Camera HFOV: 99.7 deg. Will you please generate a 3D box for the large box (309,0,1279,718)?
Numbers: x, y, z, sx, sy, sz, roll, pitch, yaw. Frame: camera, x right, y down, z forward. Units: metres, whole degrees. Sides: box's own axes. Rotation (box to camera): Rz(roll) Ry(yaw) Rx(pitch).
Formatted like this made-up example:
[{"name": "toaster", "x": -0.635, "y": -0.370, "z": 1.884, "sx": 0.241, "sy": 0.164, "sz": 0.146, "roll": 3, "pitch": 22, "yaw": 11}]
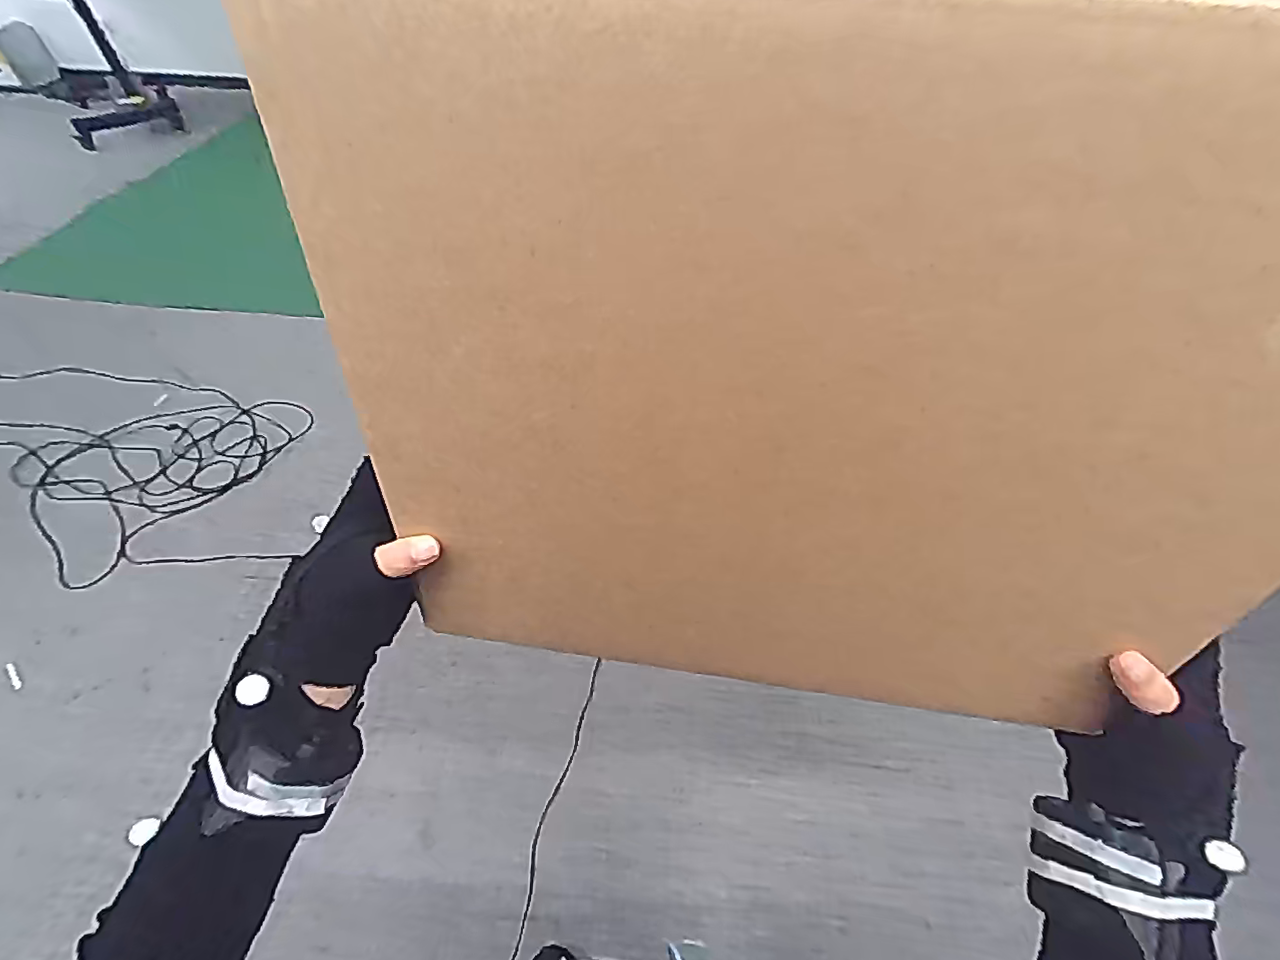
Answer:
[{"name": "large box", "x": 0.101, "y": -0.088, "z": 0.352, "sx": 0.408, "sy": 0.320, "sz": 0.320, "roll": 8, "pitch": 39, "yaw": 2}]
